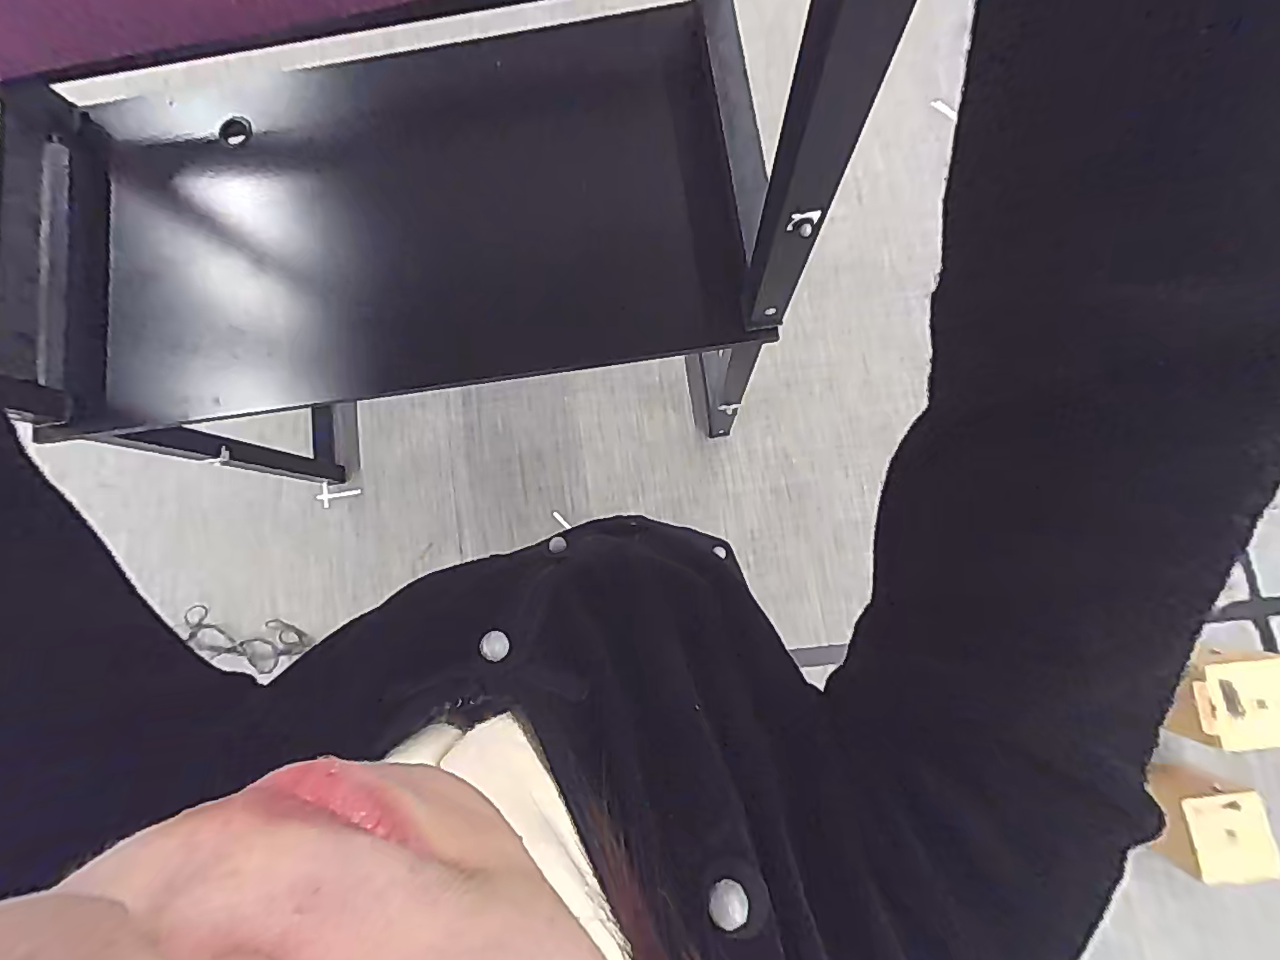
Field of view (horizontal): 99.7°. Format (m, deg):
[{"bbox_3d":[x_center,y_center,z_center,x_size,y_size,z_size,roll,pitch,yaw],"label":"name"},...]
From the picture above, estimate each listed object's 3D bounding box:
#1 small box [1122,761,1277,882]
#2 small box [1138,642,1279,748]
[{"bbox_3d":[1.283,0.783,1.254,0.168,0.176,0.179,-9,83,3],"label":"small box"},{"bbox_3d":[1.204,0.444,1.136,0.179,0.176,0.168,-6,83,2],"label":"small box"}]
